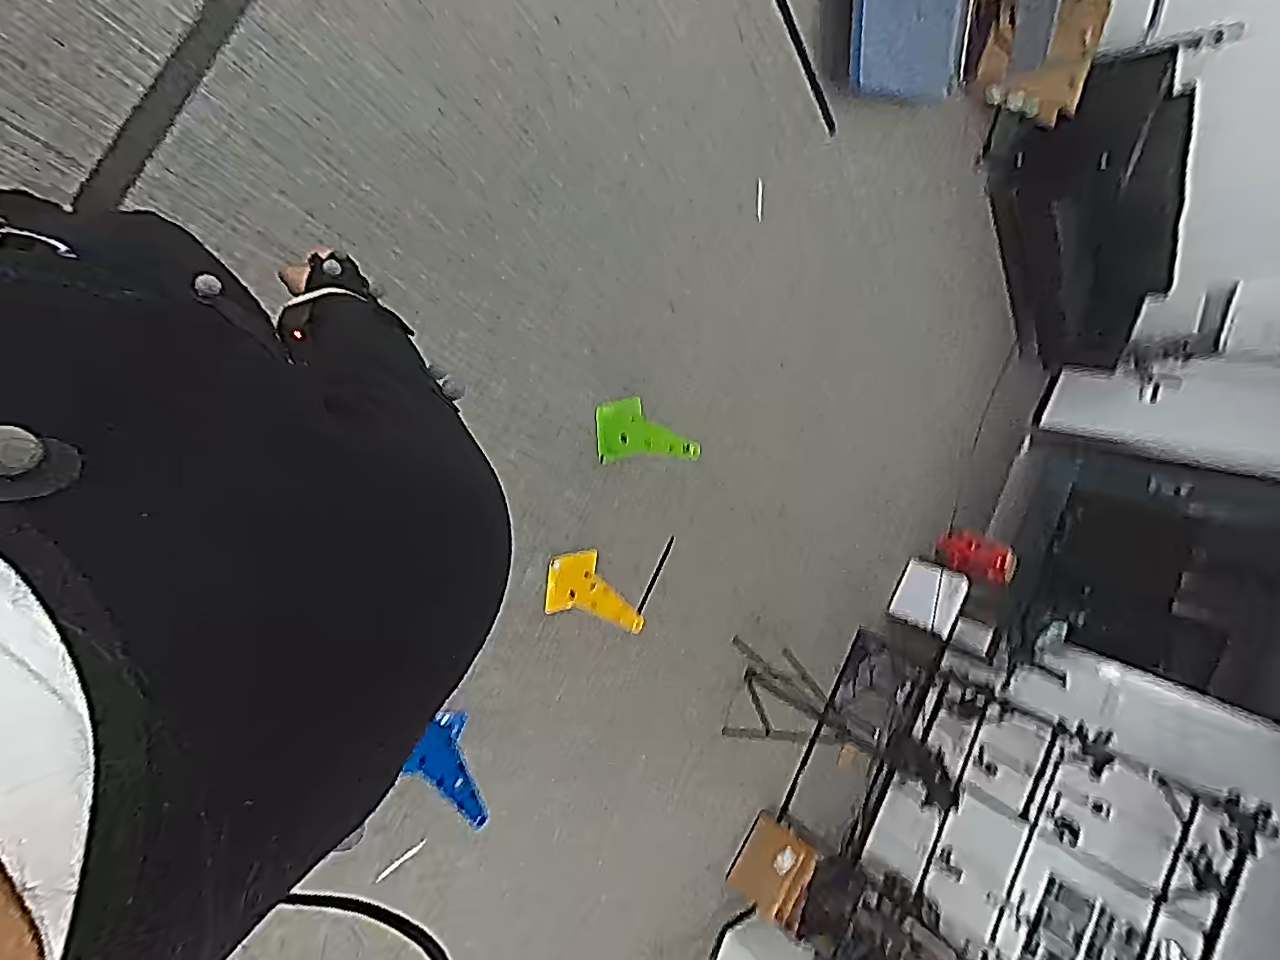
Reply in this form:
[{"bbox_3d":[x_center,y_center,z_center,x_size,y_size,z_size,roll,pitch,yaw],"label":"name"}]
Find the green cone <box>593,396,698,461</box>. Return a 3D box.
[{"bbox_3d":[0.042,-0.137,1.746,0.200,0.368,0.202,-22,118,-39],"label":"green cone"}]
